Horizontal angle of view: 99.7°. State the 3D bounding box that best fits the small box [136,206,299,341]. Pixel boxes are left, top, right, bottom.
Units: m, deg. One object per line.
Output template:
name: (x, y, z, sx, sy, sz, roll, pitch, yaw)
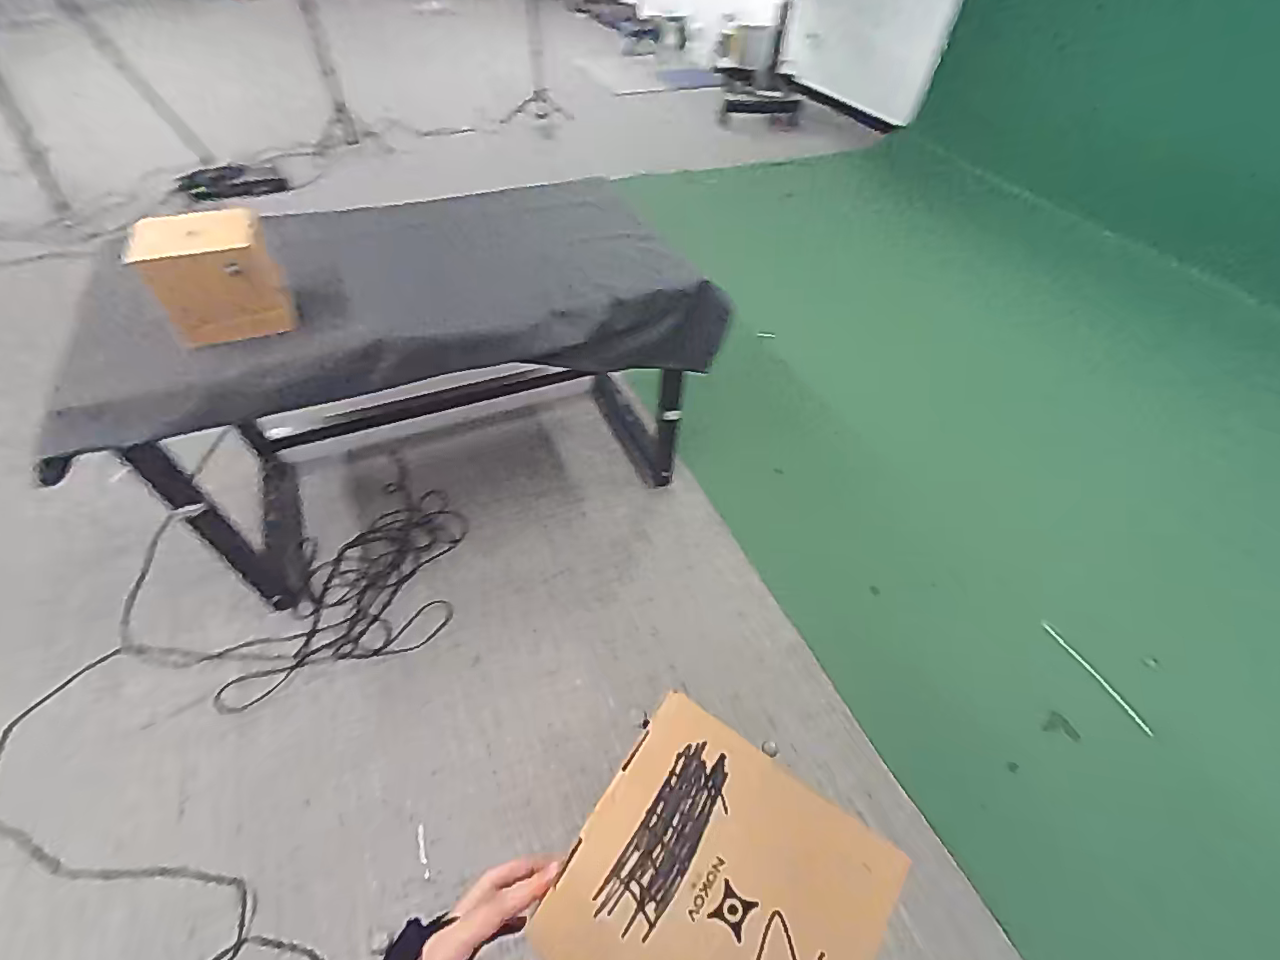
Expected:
small box: (-0.756, -0.374, 0.987, 0.179, 0.176, 0.168, -17, 52, -18)
